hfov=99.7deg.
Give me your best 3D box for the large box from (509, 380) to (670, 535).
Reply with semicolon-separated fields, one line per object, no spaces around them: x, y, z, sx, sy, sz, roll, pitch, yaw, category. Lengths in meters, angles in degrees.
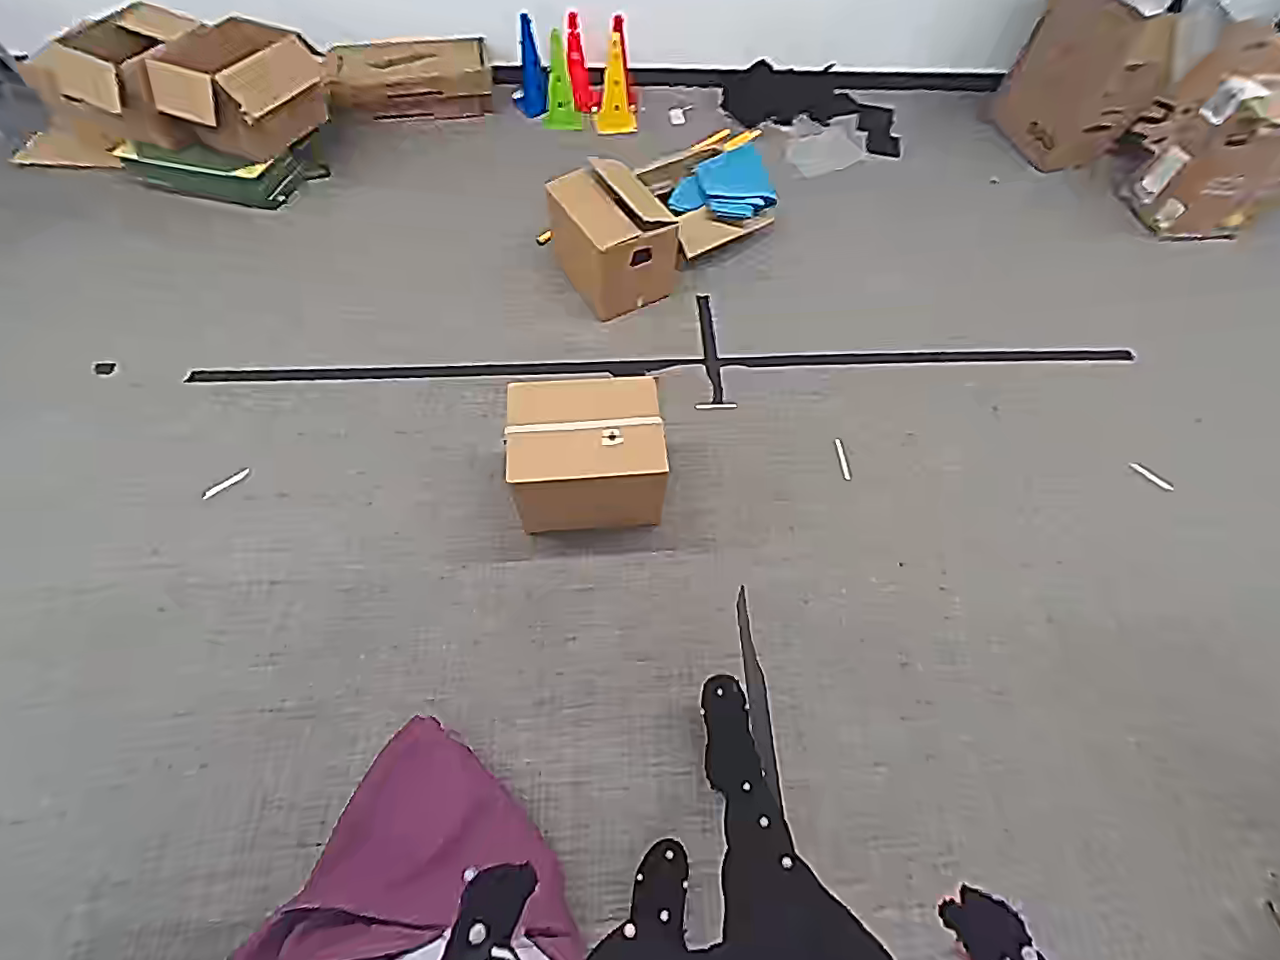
-0.147;-0.058;1.533;0.408;0.320;0.320;-4;61;-6;large box
